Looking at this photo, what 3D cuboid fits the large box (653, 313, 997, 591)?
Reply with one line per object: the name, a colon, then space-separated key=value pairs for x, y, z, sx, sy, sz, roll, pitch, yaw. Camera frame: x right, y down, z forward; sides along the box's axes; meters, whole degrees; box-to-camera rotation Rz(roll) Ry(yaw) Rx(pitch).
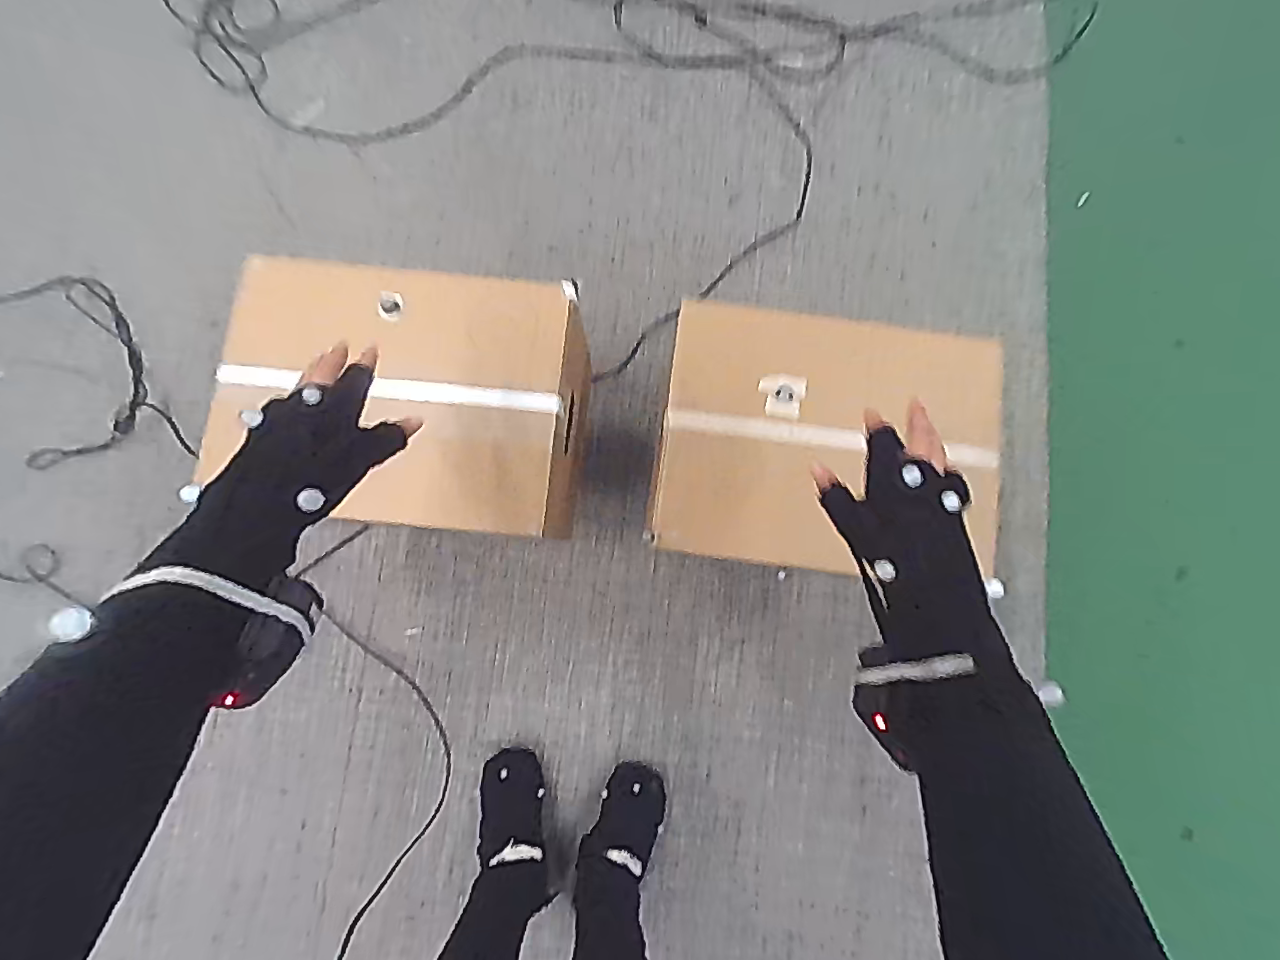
large box: x=0.240 y=-0.023 z=0.818 sx=0.408 sy=0.320 sz=0.320 roll=8 pitch=82 yaw=1
